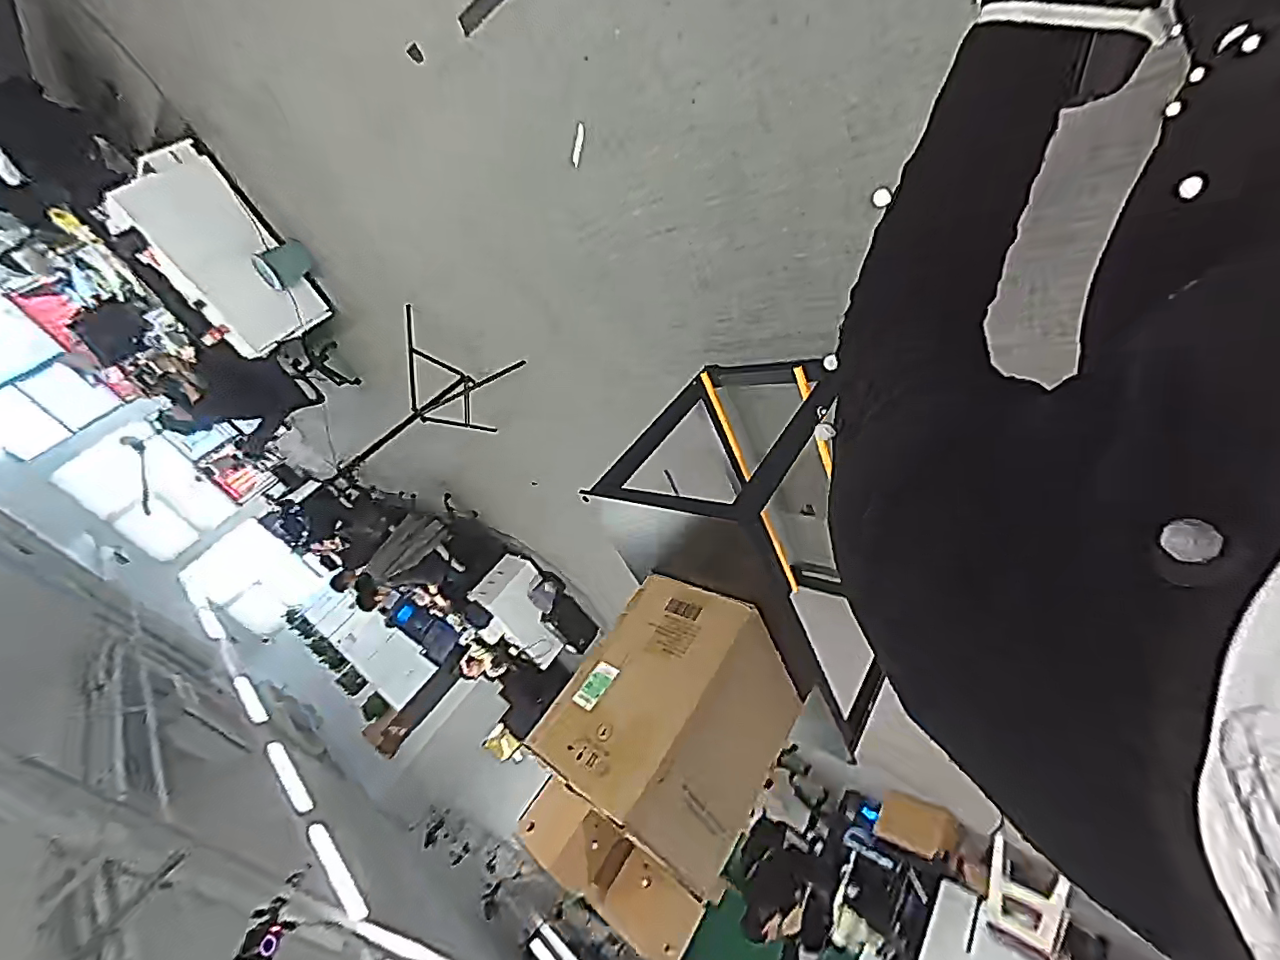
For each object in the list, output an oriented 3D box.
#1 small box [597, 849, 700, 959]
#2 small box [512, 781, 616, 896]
[{"bbox_3d":[0.028,1.103,1.388,0.168,0.176,0.179,4,131,46],"label":"small box"},{"bbox_3d":[-0.197,0.933,1.428,0.179,0.176,0.168,8,138,48],"label":"small box"}]
